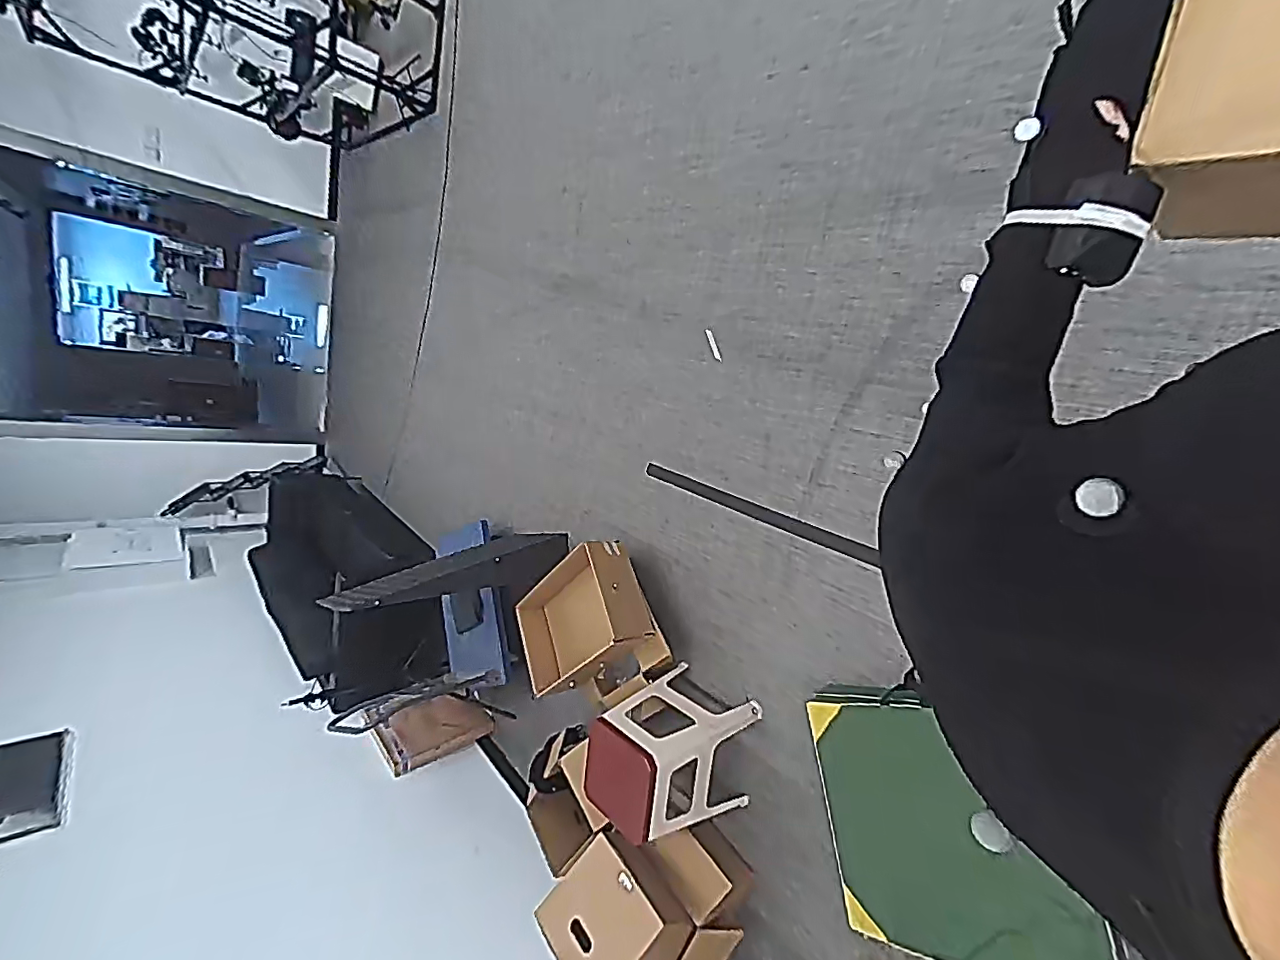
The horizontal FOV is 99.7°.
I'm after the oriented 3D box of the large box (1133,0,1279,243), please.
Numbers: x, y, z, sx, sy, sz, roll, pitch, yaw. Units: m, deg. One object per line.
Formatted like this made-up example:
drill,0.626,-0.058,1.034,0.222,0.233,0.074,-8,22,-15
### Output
large box,0.609,-0.340,0.321,0.408,0.320,0.320,21,113,42
